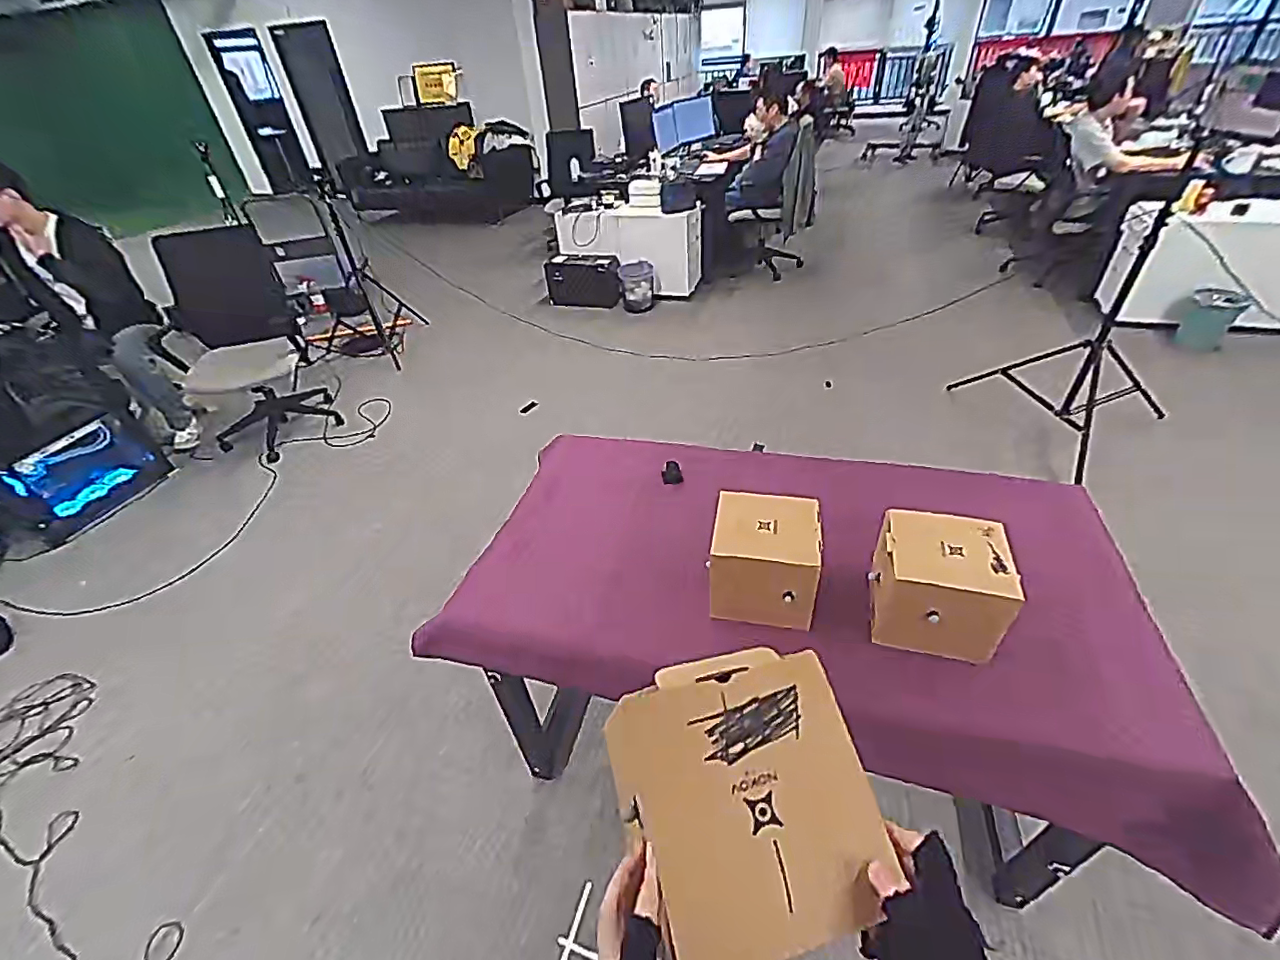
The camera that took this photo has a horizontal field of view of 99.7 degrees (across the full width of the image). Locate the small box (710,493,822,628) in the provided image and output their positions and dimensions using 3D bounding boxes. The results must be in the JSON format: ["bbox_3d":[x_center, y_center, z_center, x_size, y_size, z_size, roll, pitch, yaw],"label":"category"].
[{"bbox_3d":[0.222,0.144,0.968,0.179,0.176,0.168,3,38,12],"label":"small box"}]

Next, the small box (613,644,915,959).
[{"bbox_3d":[0.078,0.258,0.452,0.168,0.176,0.179,-8,62,-13],"label":"small box"}]

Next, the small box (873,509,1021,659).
[{"bbox_3d":[0.491,0.172,0.898,0.179,0.176,0.168,7,40,16],"label":"small box"}]
